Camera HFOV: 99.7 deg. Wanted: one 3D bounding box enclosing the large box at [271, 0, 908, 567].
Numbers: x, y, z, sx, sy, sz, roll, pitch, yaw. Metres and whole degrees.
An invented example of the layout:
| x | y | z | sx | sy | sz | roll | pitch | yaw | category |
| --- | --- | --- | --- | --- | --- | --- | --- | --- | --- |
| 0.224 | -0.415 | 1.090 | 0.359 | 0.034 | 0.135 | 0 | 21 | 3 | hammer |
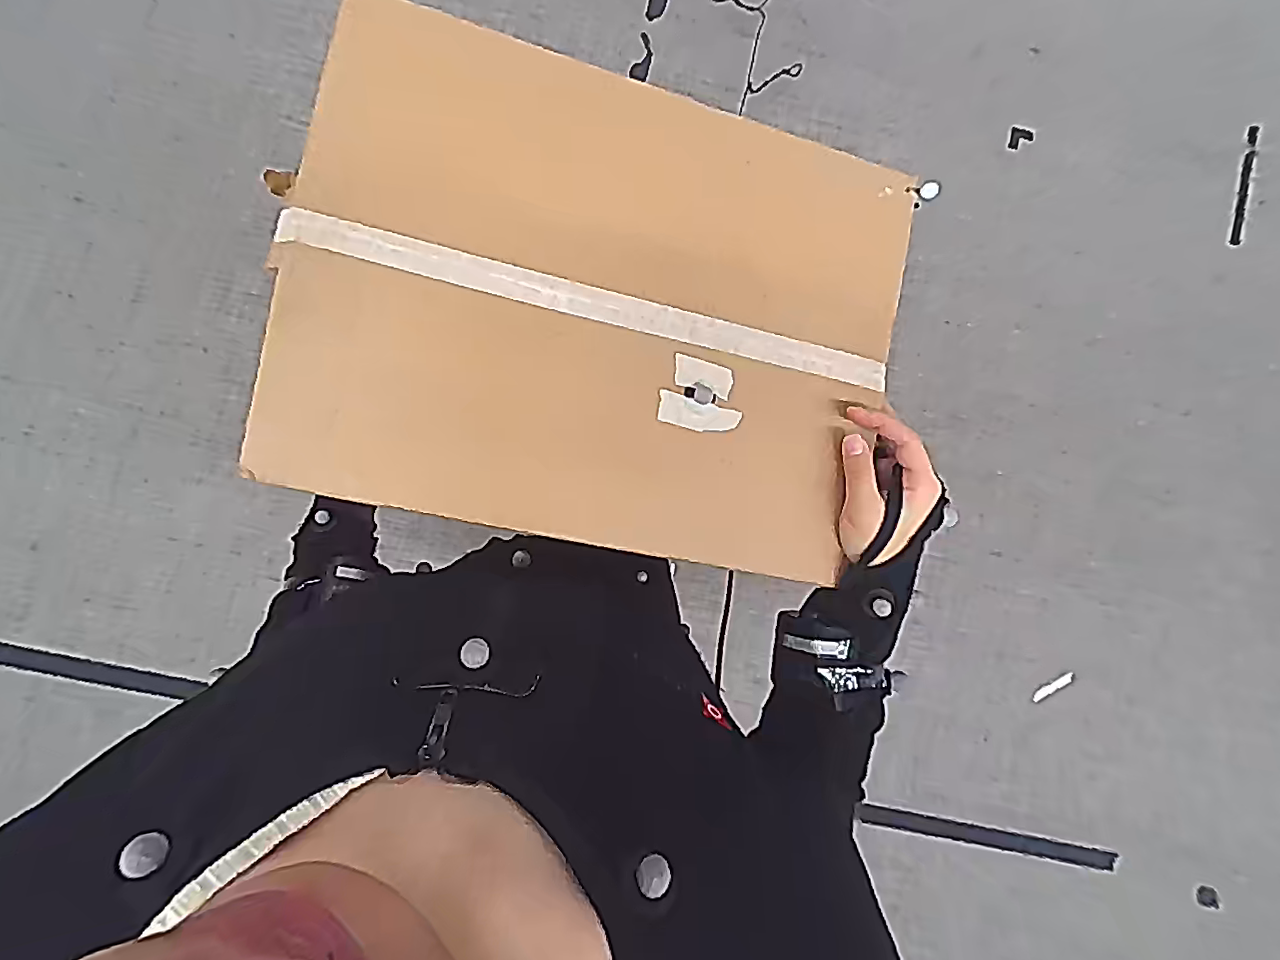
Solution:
| x | y | z | sx | sy | sz | roll | pitch | yaw | category |
| --- | --- | --- | --- | --- | --- | --- | --- | --- | --- |
| -0.040 | -0.119 | 0.517 | 0.408 | 0.320 | 0.320 | 12 | 89 | -12 | large box |
